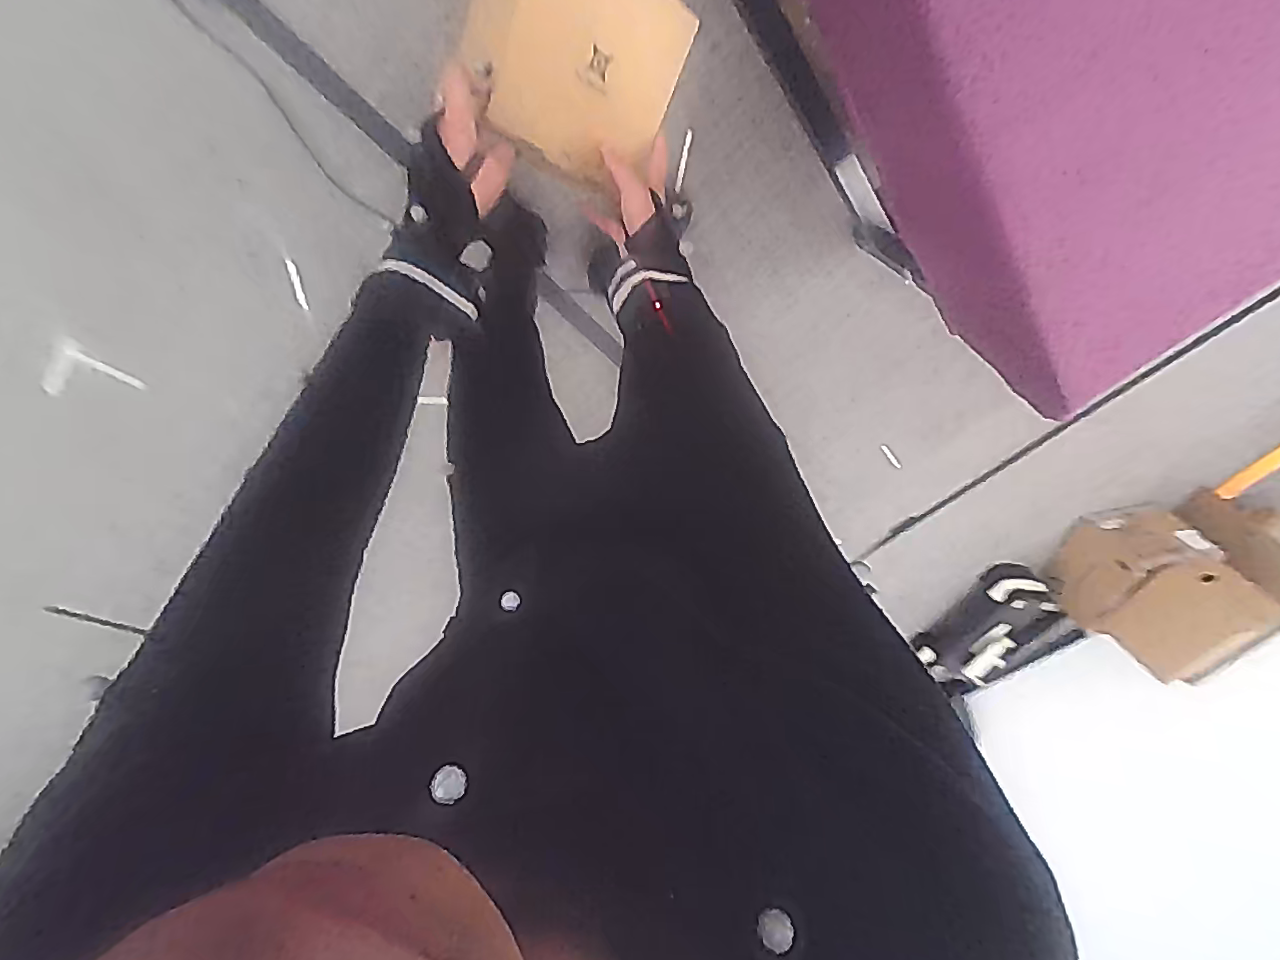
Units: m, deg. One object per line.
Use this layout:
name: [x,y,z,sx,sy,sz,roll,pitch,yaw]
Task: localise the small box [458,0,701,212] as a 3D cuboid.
small box: [-0.074,-0.414,0.565,0.168,0.176,0.179,10,115,-38]
